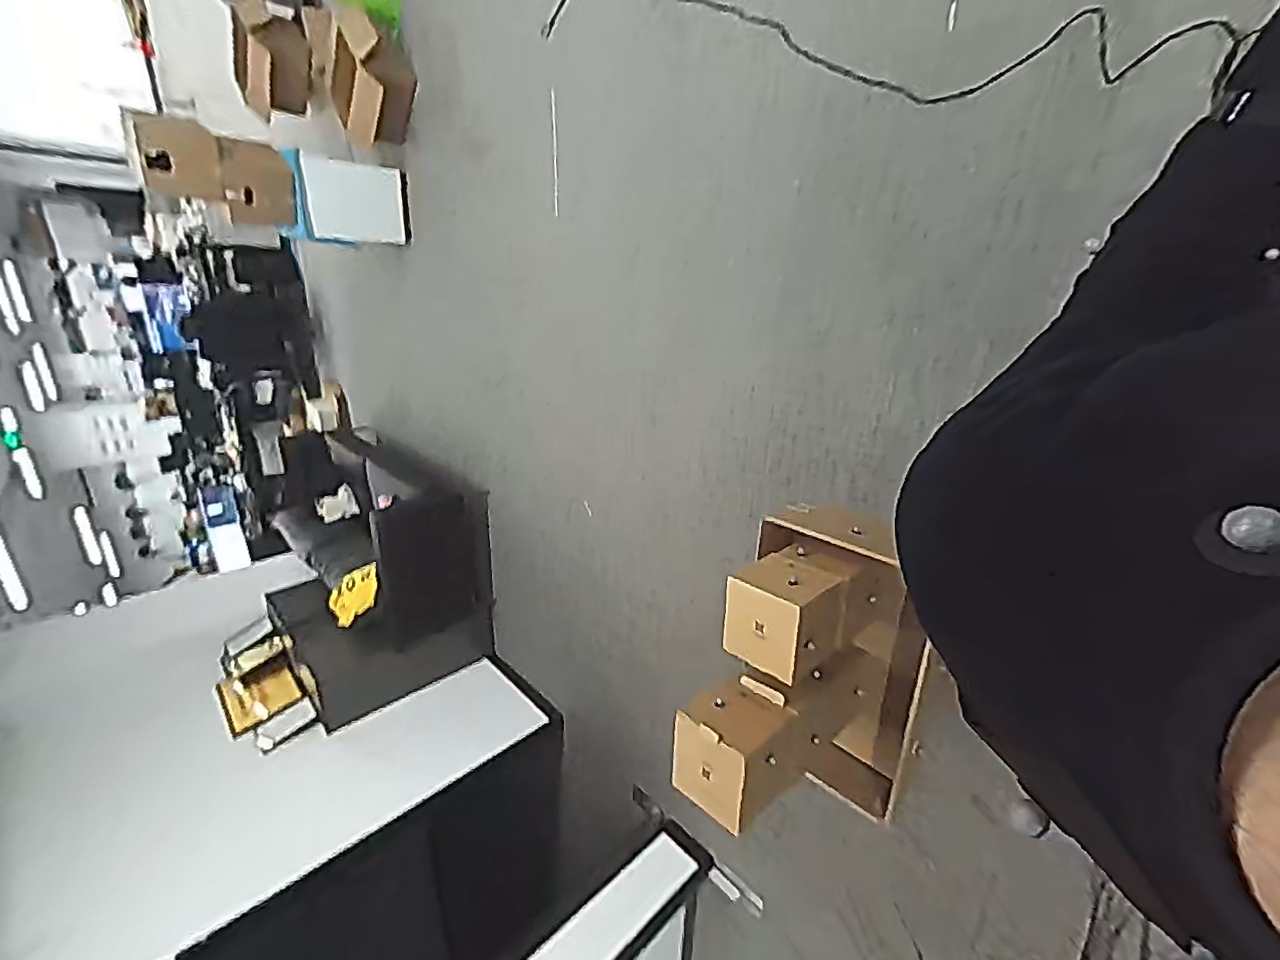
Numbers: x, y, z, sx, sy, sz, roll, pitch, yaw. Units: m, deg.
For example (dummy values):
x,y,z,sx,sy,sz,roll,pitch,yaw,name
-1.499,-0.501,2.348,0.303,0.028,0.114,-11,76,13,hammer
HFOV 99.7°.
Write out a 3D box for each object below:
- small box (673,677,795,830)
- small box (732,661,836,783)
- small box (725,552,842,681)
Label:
x,y,z,sx,sy,sz,roll,pitch,yaw,name
0.185,0.521,1.061,0.168,0.176,0.179,18,112,44,small box
0.307,0.495,1.167,0.168,0.176,0.179,14,110,44,small box
0.295,0.266,1.107,0.168,0.176,0.179,18,115,43,small box
